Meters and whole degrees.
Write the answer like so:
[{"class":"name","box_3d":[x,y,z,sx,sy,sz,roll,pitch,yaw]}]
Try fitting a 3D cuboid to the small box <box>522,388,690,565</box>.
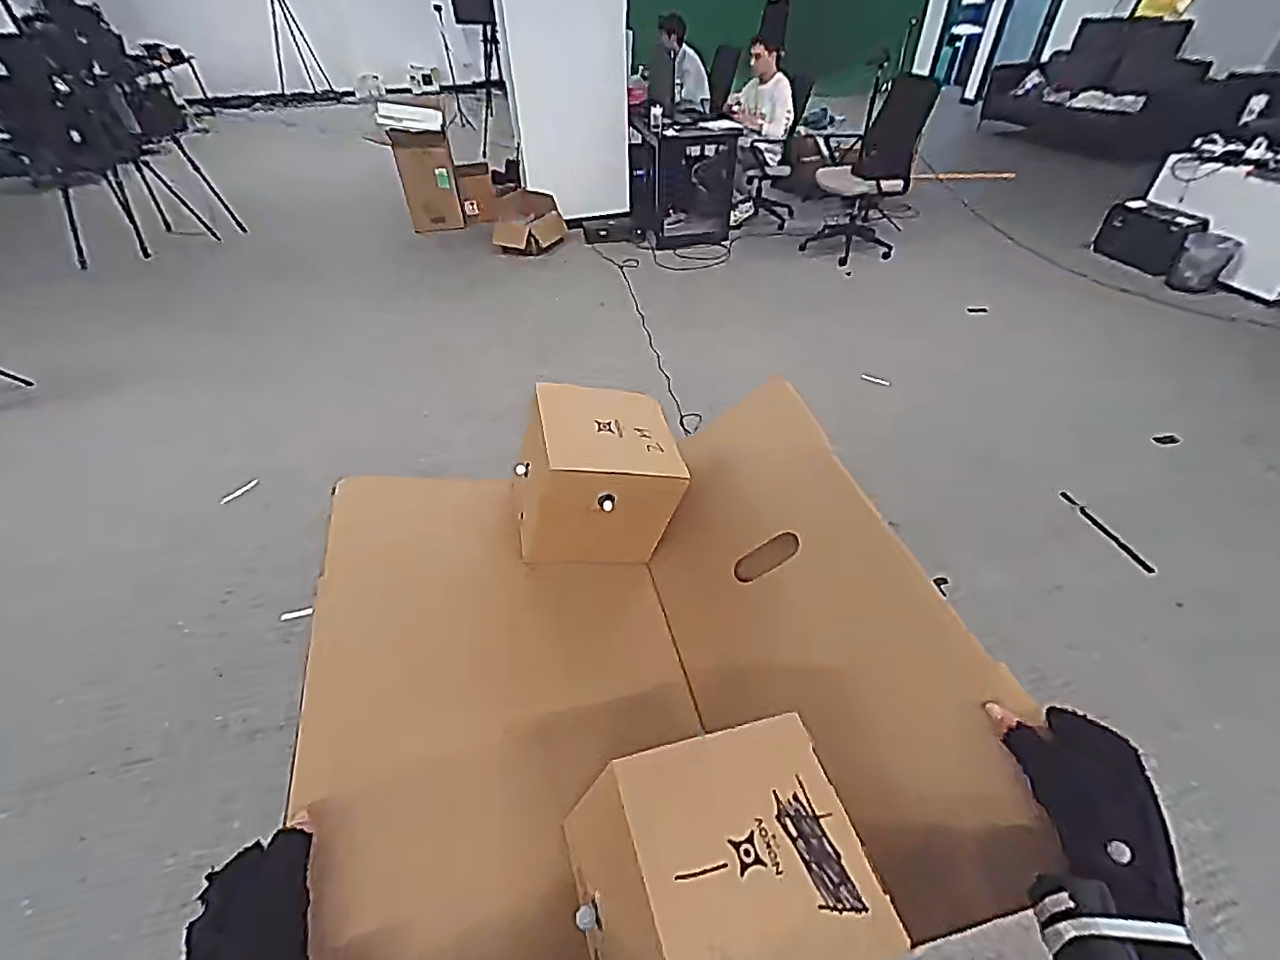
[{"class":"small box","box_3d":[-0.059,0.000,0.727,0.179,0.176,0.168,4,44,-22]}]
